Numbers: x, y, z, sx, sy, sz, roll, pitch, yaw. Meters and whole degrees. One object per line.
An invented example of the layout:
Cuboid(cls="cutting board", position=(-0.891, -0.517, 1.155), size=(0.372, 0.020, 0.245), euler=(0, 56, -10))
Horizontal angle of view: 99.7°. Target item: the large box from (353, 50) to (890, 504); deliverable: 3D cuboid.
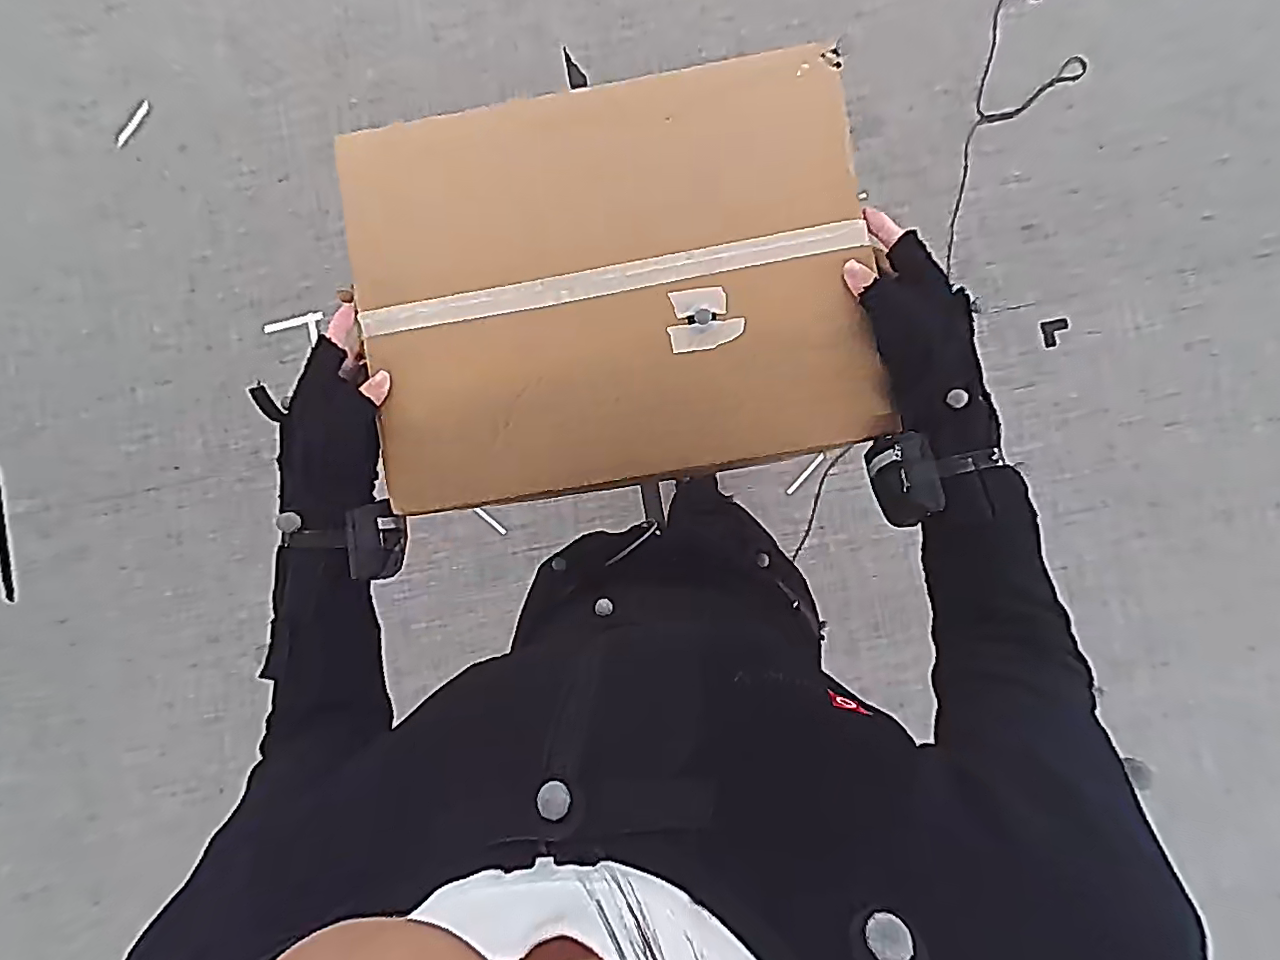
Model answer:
Cuboid(cls="large box", position=(-0.017, -0.162, 0.589), size=(0.408, 0.320, 0.320), euler=(-10, 89, 1))
